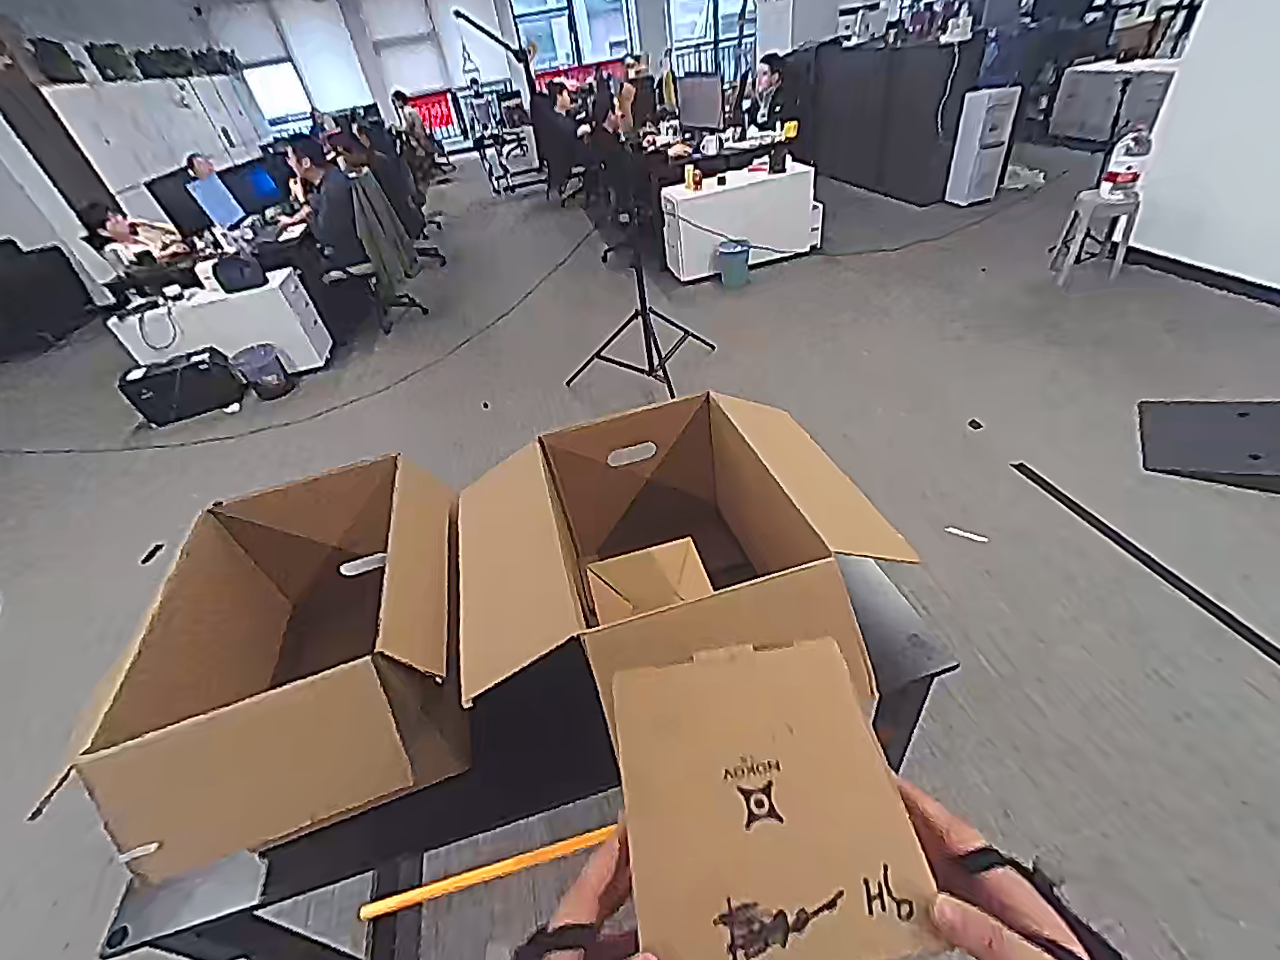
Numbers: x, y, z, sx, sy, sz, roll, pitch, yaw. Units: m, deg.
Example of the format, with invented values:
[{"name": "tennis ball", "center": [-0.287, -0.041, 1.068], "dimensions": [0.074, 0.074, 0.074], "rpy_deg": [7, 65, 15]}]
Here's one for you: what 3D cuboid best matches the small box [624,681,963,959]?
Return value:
[{"name": "small box", "center": [0.083, 0.267, 0.375], "dimensions": [0.168, 0.176, 0.179], "rpy_deg": [-8, 48, -2]}]
